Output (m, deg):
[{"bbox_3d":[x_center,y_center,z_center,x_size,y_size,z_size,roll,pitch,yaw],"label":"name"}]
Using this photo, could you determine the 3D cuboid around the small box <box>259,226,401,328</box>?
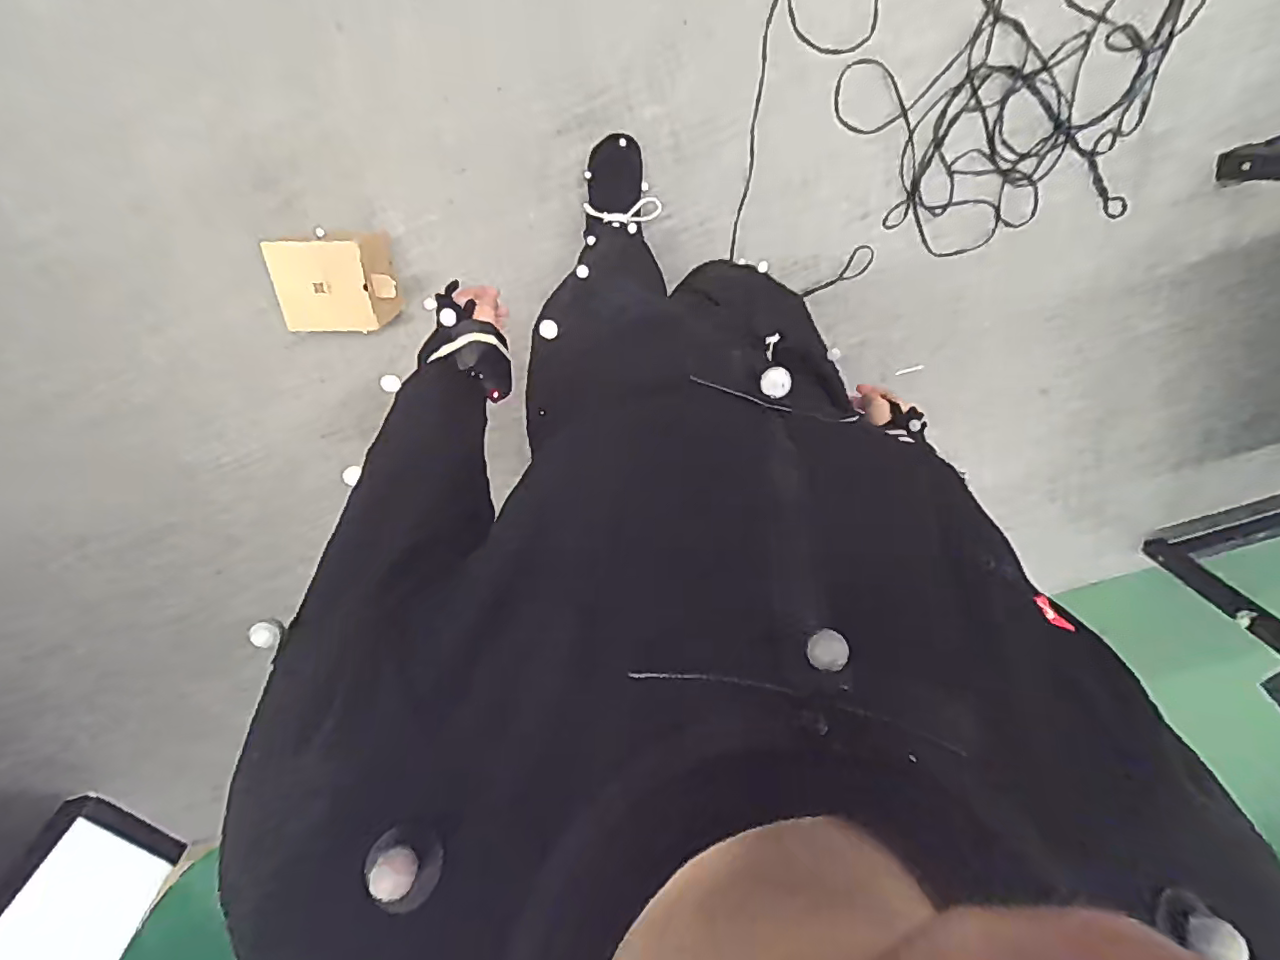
[{"bbox_3d":[-0.607,-0.409,1.084,0.179,0.176,0.168,-1,121,-4],"label":"small box"}]
